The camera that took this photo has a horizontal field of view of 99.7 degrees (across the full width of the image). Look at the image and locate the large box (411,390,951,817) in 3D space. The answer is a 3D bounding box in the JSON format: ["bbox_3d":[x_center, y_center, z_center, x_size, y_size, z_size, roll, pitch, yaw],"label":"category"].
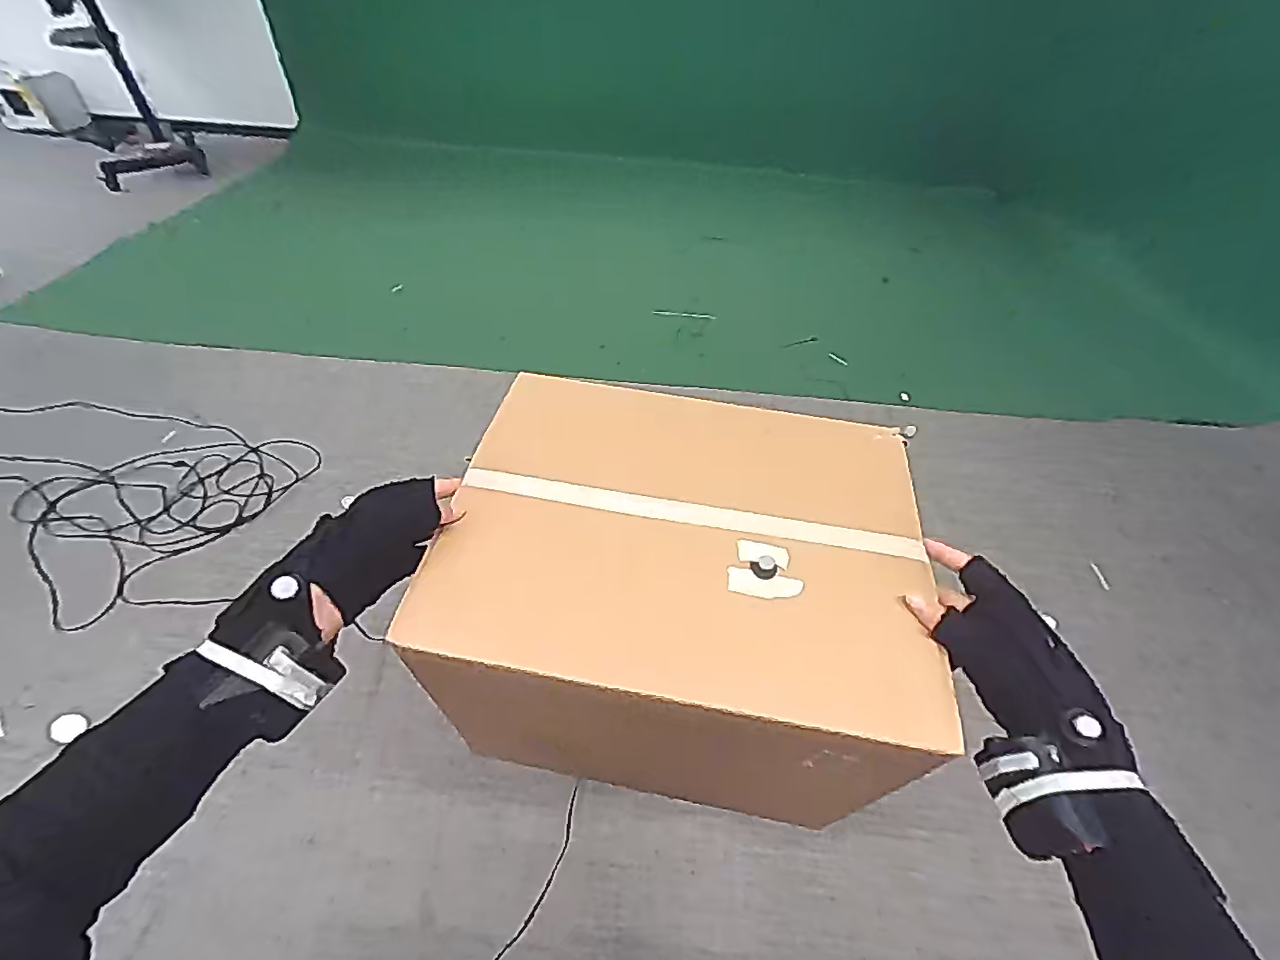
[{"bbox_3d":[0.038,0.137,0.596,0.408,0.320,0.320,9,50,5],"label":"large box"}]
